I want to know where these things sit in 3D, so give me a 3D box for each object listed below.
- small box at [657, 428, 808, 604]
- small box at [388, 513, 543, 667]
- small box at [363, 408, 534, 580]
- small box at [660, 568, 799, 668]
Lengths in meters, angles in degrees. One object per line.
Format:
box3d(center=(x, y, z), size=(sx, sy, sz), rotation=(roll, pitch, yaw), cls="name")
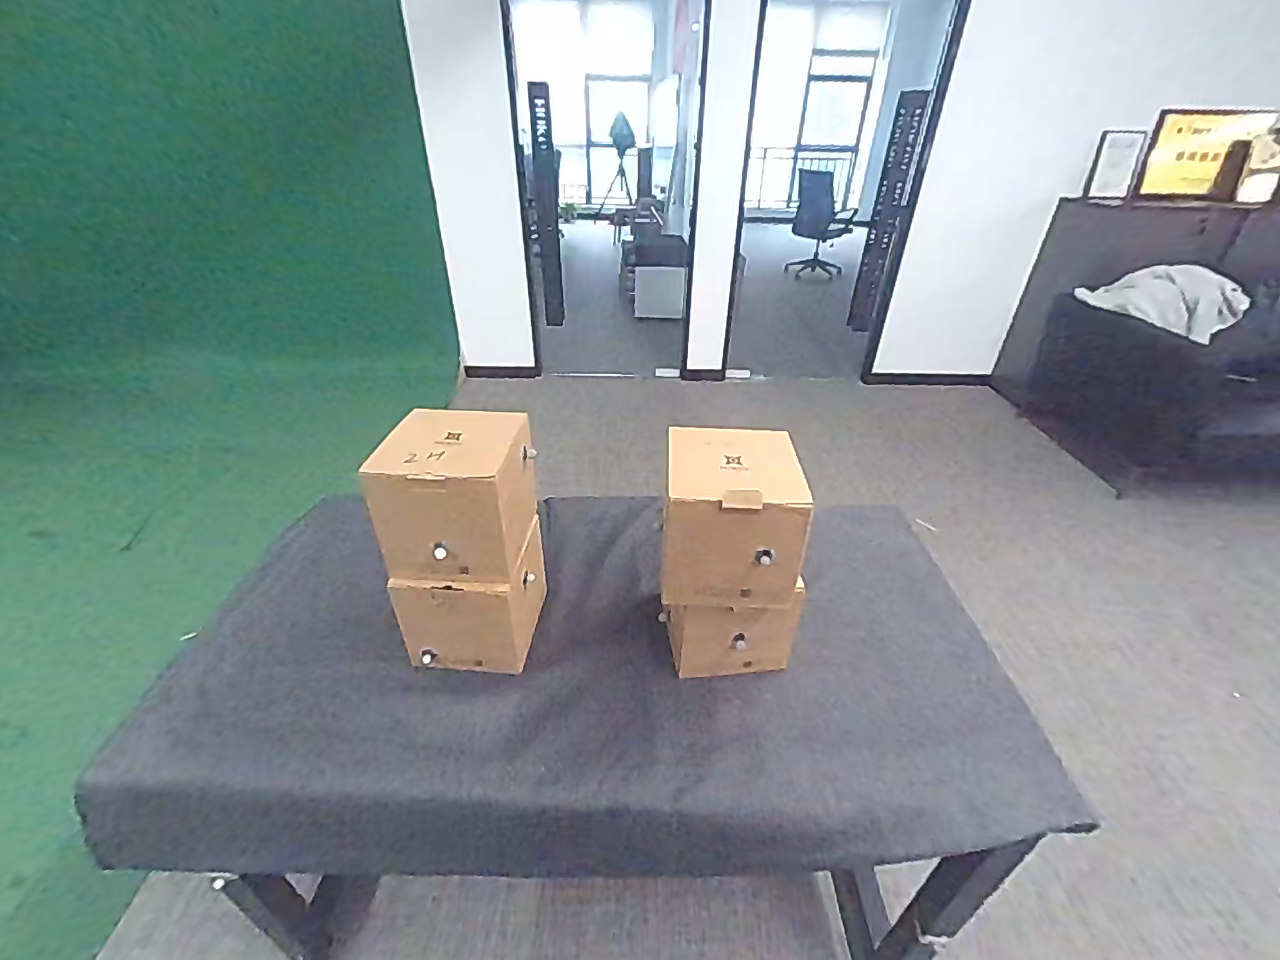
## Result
box3d(center=(0.110, 0.046, 0.719), size=(0.168, 0.176, 0.179), rotation=(3, 32, 1), cls="small box")
box3d(center=(-0.249, 0.162, 0.825), size=(0.168, 0.176, 0.179), rotation=(4, 32, 3), cls="small box")
box3d(center=(-0.246, 0.015, 0.748), size=(0.168, 0.176, 0.179), rotation=(2, 33, 2), cls="small box")
box3d(center=(0.125, 0.169, 0.828), size=(0.168, 0.176, 0.179), rotation=(-3, 34, -7), cls="small box")
